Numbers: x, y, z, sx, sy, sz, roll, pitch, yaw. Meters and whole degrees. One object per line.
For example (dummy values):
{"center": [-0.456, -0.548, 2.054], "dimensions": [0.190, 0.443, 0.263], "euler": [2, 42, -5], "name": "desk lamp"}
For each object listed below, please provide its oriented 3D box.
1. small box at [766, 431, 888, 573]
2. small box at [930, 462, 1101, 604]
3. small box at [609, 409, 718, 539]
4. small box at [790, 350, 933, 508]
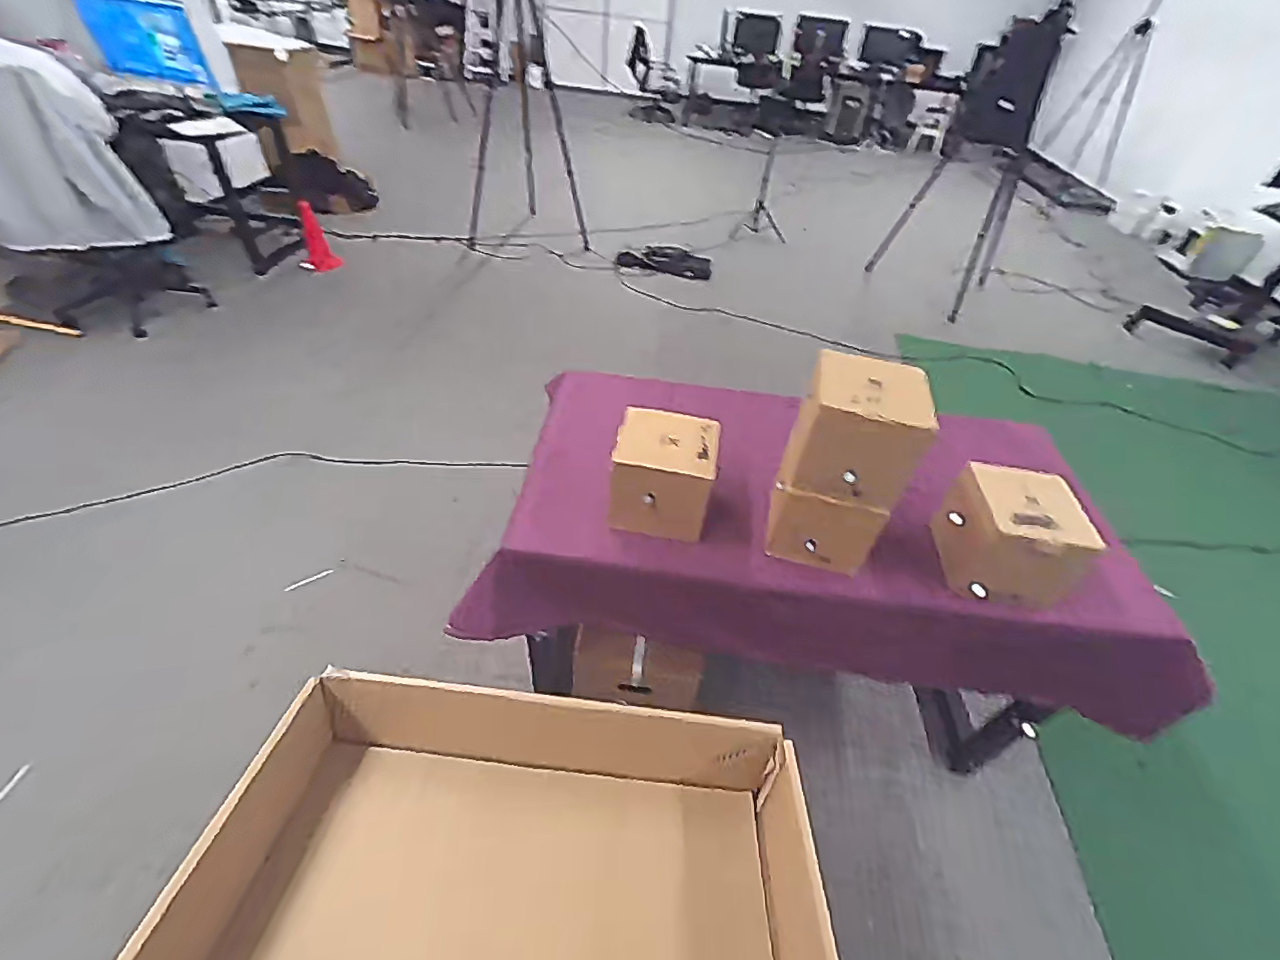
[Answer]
{"center": [0.335, 0.039, 0.993], "dimensions": [0.168, 0.176, 0.179], "euler": [13, 45, 7], "name": "small box"}
{"center": [0.650, 0.097, 0.963], "dimensions": [0.168, 0.176, 0.179], "euler": [10, 43, 4], "name": "small box"}
{"center": [0.042, -0.009, 1.007], "dimensions": [0.179, 0.176, 0.168], "euler": [9, 44, 5], "name": "small box"}
{"center": [0.351, -0.085, 0.885], "dimensions": [0.168, 0.176, 0.179], "euler": [13, 44, 9], "name": "small box"}
